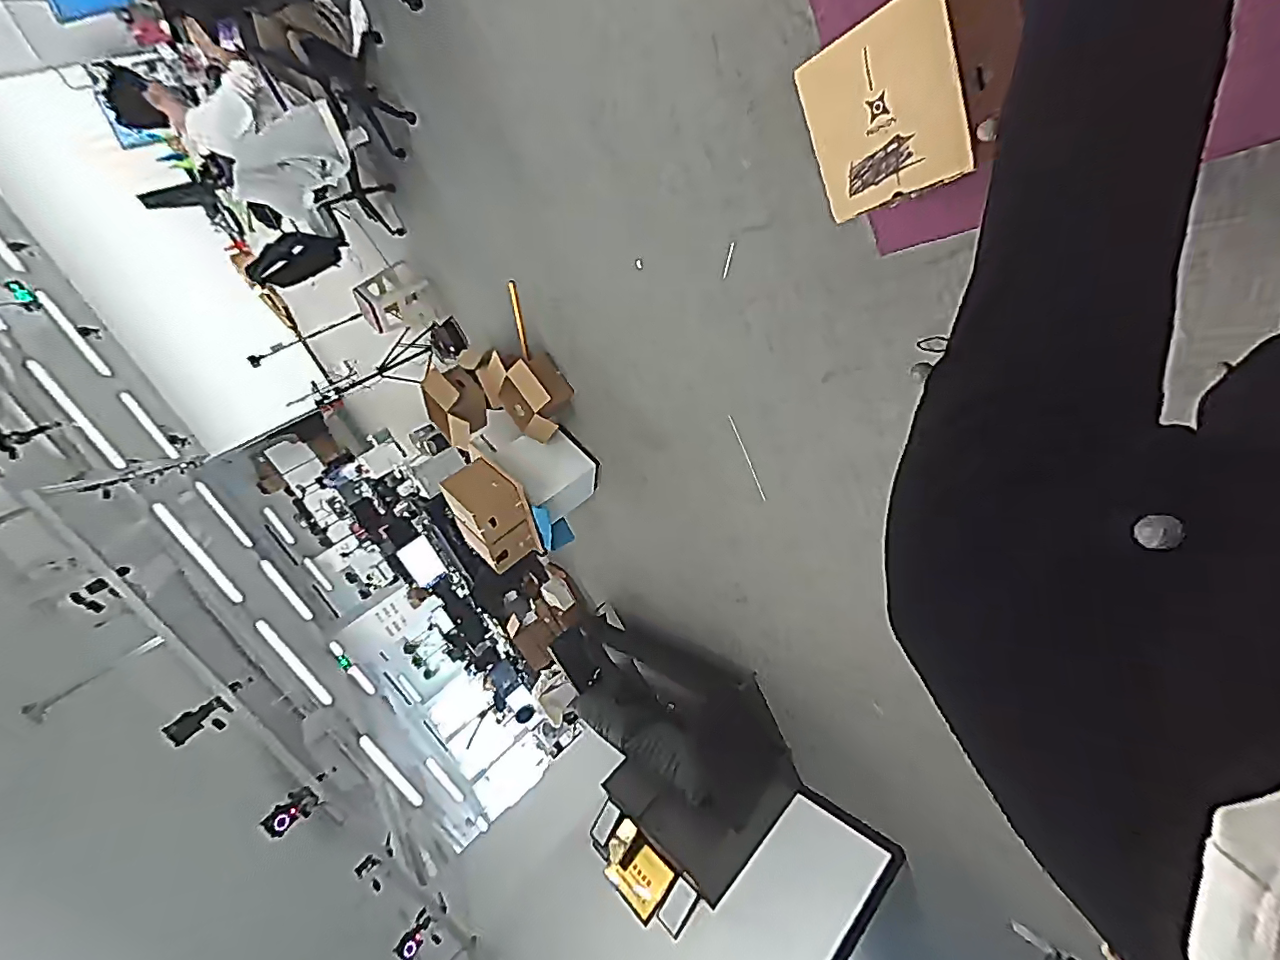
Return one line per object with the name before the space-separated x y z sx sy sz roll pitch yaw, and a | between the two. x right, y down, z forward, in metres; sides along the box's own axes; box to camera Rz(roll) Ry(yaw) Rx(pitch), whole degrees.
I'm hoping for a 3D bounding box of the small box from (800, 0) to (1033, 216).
small box | 0.325 -0.446 0.631 0.168 0.176 0.179 7 127 56
